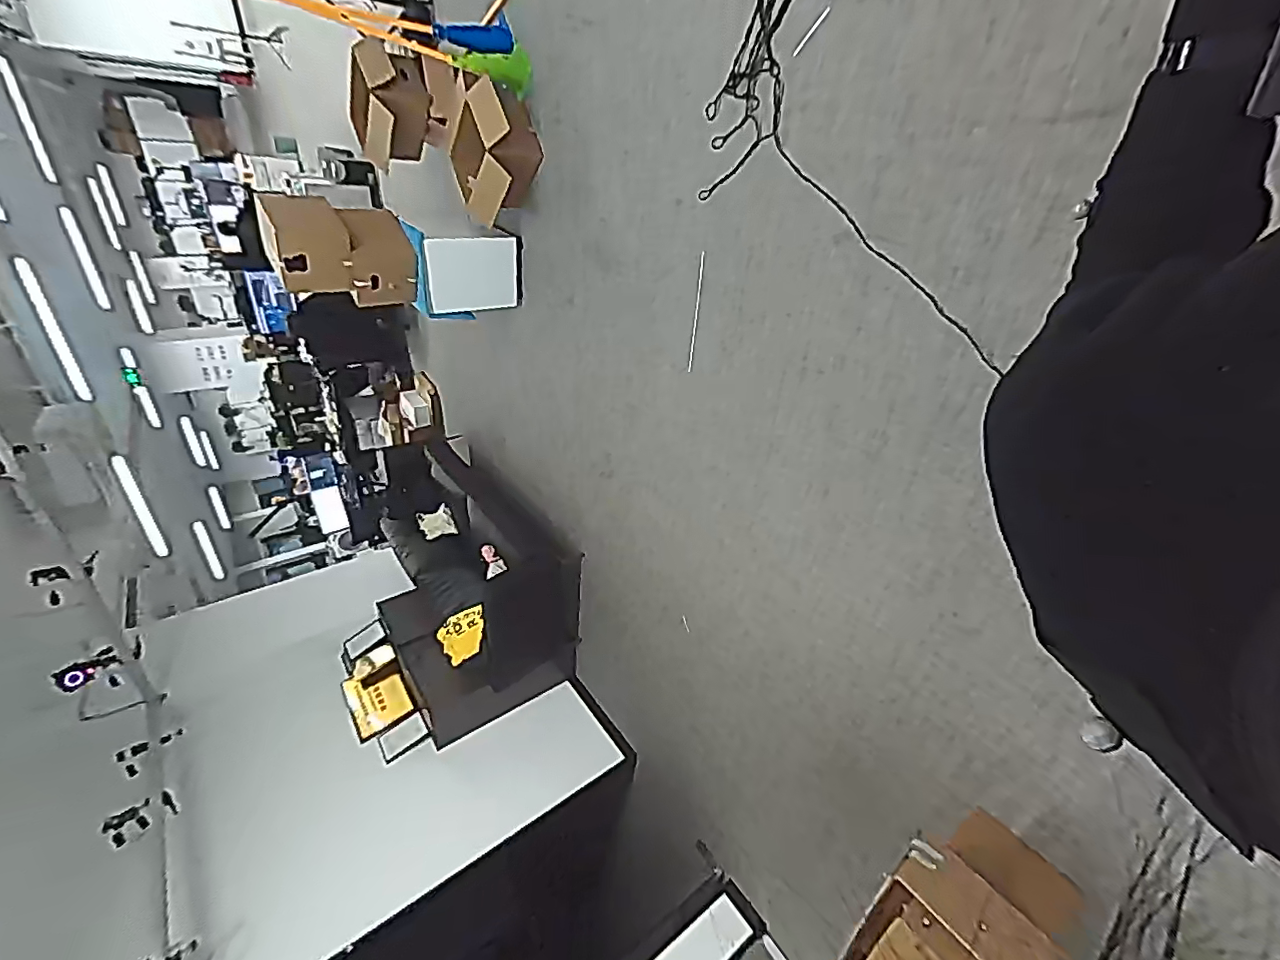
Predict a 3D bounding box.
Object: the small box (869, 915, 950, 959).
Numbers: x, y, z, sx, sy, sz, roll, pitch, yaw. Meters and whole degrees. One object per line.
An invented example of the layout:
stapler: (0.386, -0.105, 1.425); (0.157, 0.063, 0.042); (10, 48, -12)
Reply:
small box: (0.635, 1.190, 1.277); (0.168, 0.176, 0.179); (34, 131, 43)
